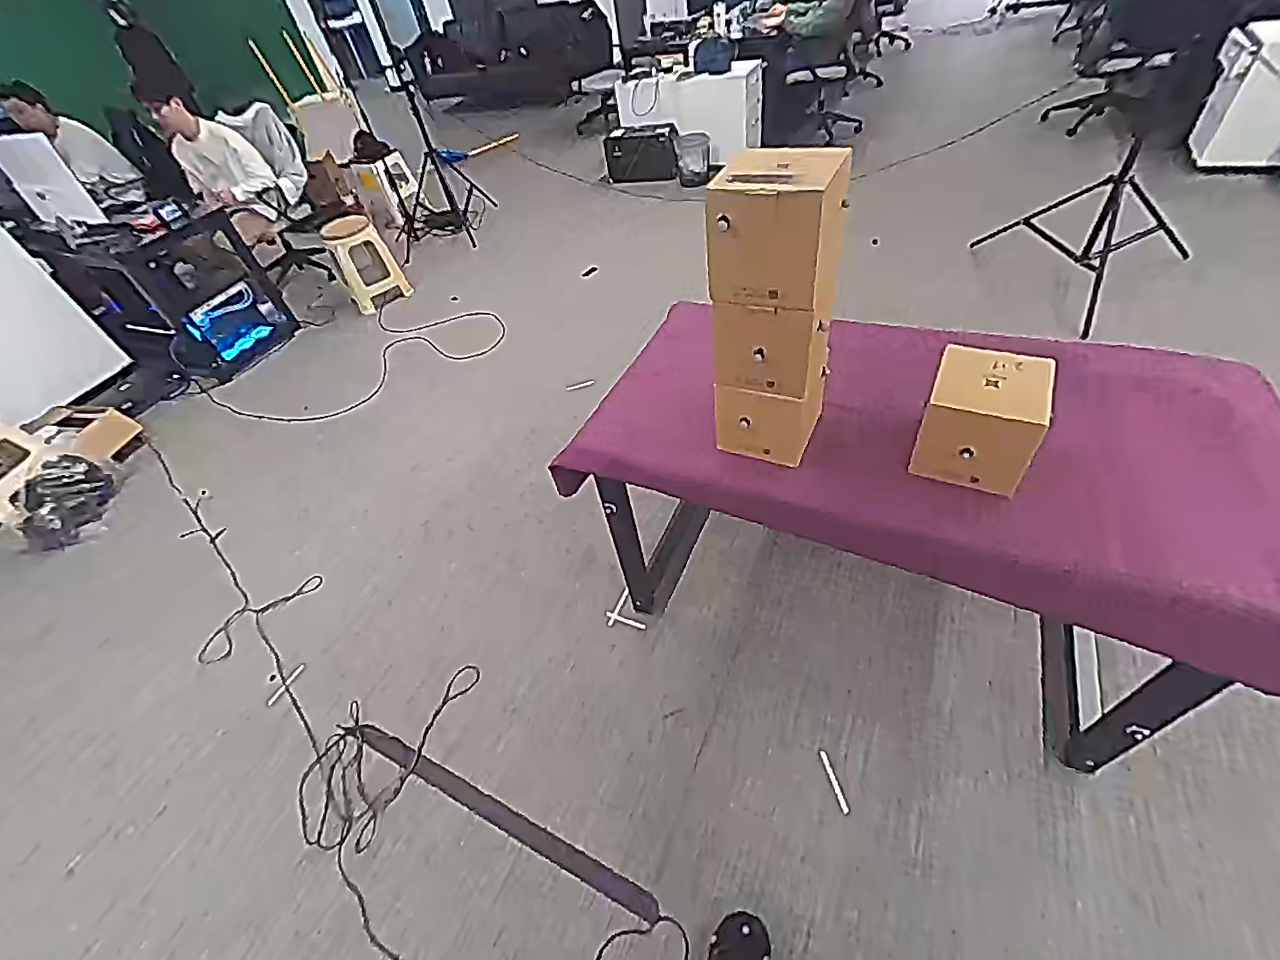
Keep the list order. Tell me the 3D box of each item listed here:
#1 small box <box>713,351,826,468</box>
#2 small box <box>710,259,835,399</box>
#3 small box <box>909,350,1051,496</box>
[{"bbox_3d":[0.255,-0.149,1.063,0.168,0.176,0.179,16,51,23],"label":"small box"},{"bbox_3d":[0.233,-0.265,0.950,0.168,0.176,0.179,14,51,22],"label":"small box"},{"bbox_3d":[0.588,-0.098,0.950,0.168,0.176,0.179,18,52,25],"label":"small box"}]
